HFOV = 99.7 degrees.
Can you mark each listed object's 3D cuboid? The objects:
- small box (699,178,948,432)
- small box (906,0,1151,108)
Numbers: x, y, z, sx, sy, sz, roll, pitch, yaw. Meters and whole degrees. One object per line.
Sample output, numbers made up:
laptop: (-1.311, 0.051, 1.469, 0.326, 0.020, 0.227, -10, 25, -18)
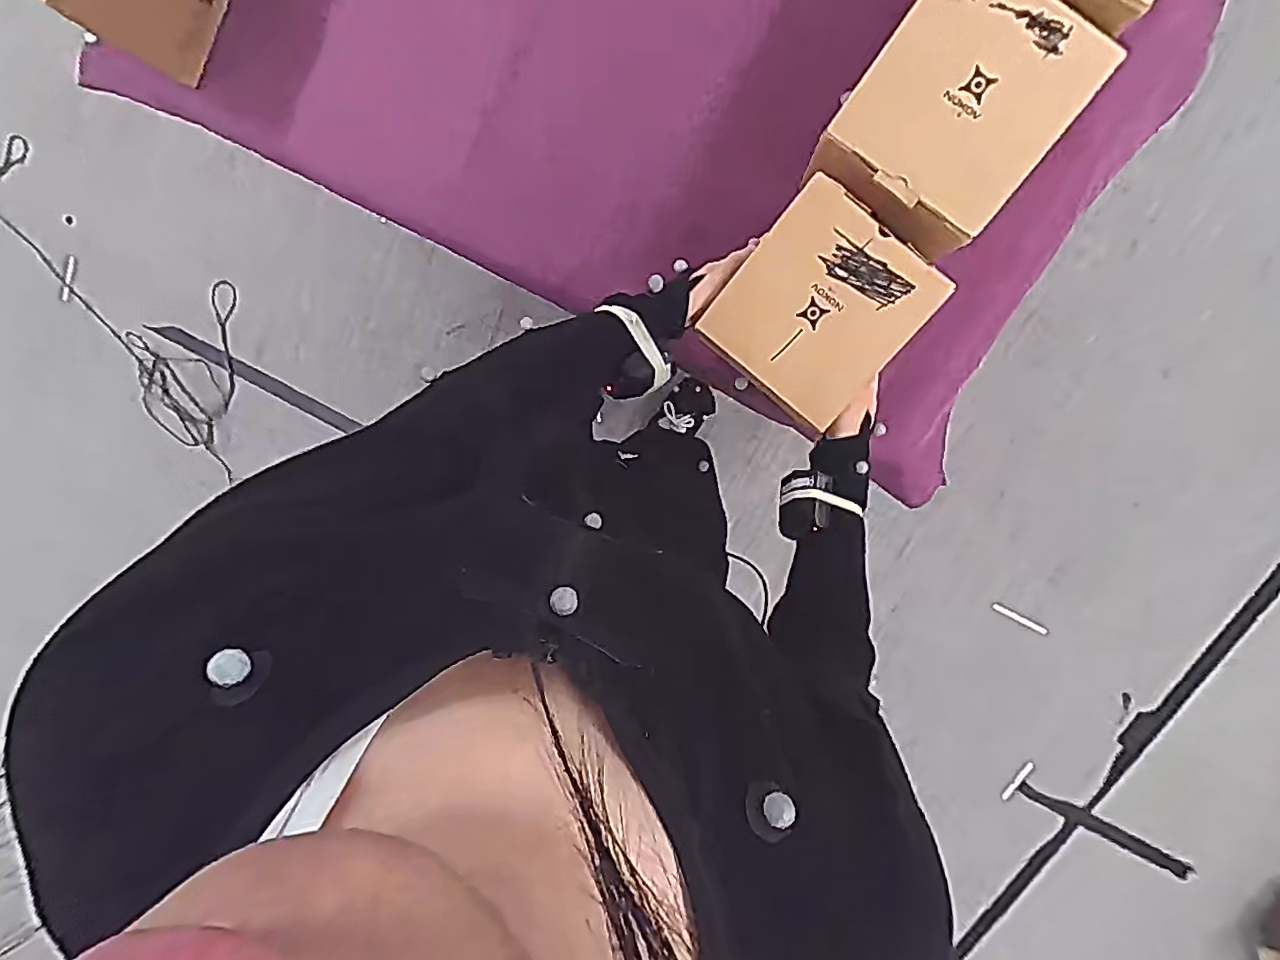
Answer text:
small box: (0.180, -0.177, 0.591, 0.168, 0.176, 0.179, 40, 103, 0)
small box: (0.382, -0.498, 0.493, 0.168, 0.176, 0.179, 31, 104, 0)
